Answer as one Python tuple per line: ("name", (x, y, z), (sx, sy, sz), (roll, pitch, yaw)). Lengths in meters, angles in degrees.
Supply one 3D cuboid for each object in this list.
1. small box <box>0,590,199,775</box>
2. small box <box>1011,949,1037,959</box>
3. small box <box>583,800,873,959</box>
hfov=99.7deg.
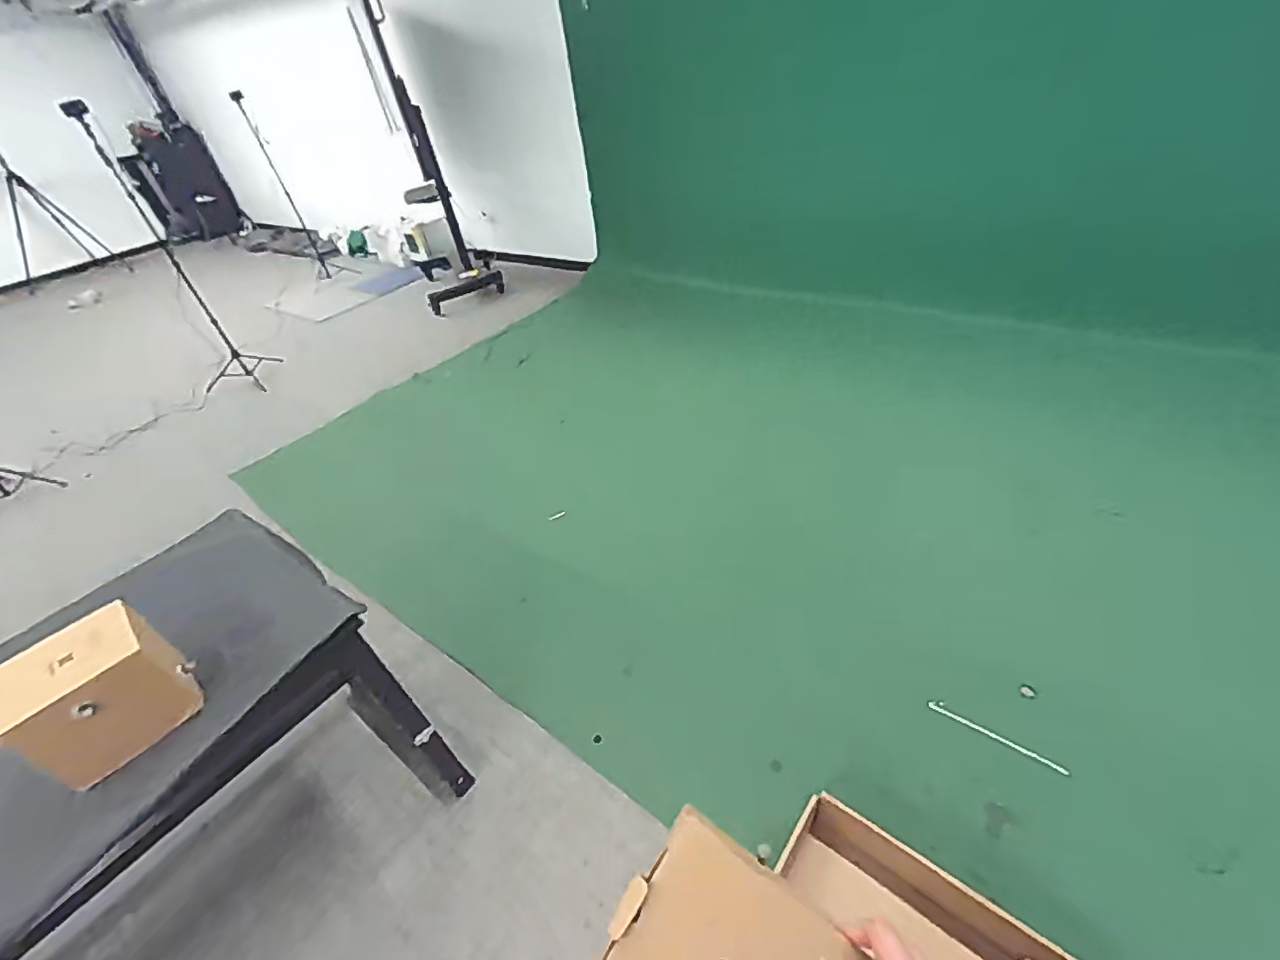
("small box", (-0.851, 0.315, 0.843), (0.168, 0.176, 0.179), (25, 49, 34))
("small box", (0.582, 0.837, 0.775), (0.168, 0.176, 0.179), (-36, 46, -28))
("small box", (0.061, 0.408, 0.466), (0.179, 0.176, 0.168), (31, 68, 17))
